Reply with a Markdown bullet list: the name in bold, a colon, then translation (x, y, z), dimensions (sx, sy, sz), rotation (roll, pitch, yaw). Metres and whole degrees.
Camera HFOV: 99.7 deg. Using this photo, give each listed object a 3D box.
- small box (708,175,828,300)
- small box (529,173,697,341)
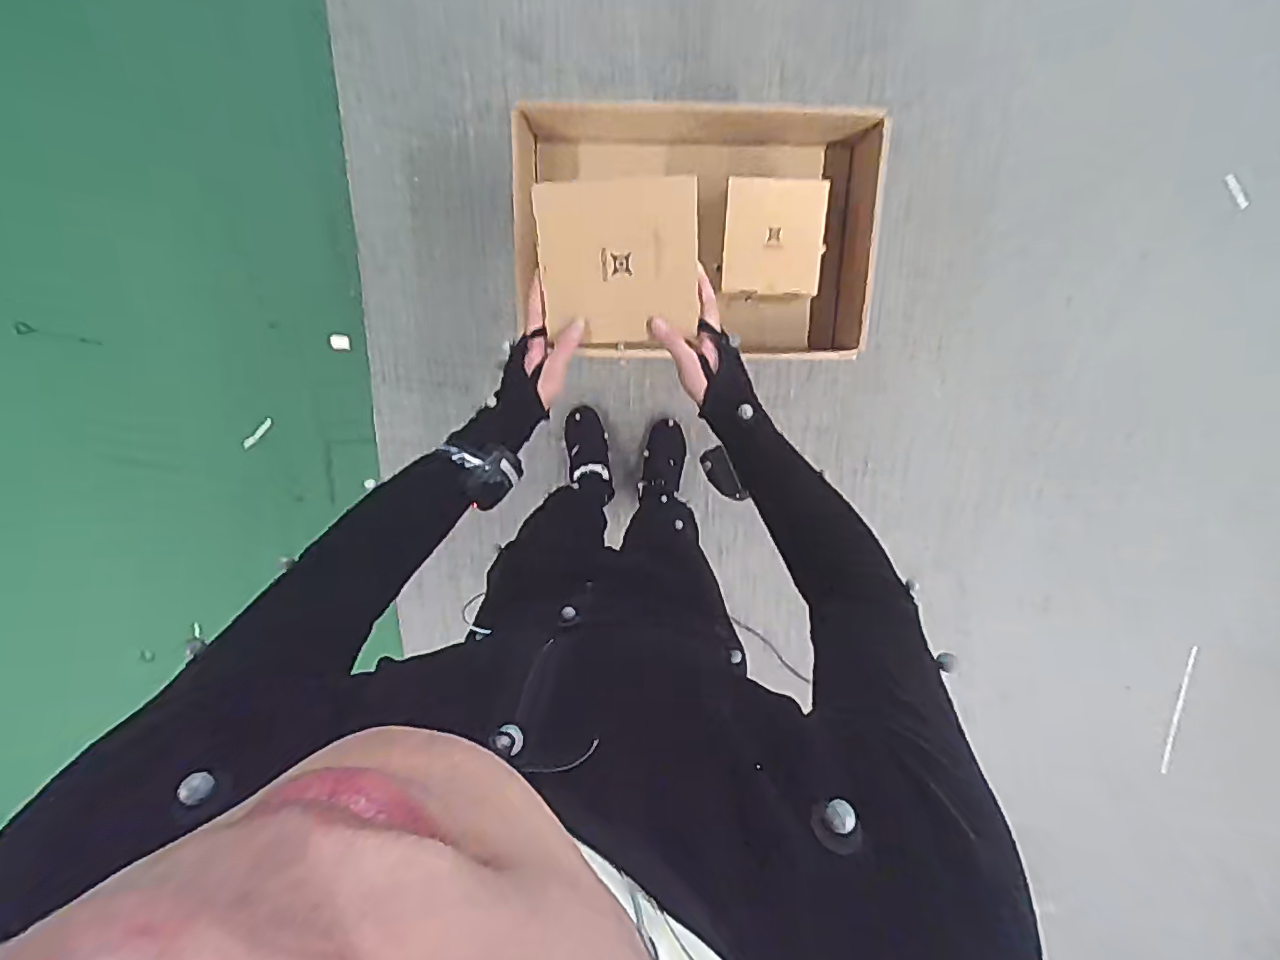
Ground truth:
- **small box**: translation (0.217, -0.421, 0.963), dimensions (0.168, 0.176, 0.179), rotation (2, 105, -1)
- **small box**: translation (-0.024, -0.261, 0.654), dimensions (0.179, 0.176, 0.168), rotation (-2, 111, 1)
